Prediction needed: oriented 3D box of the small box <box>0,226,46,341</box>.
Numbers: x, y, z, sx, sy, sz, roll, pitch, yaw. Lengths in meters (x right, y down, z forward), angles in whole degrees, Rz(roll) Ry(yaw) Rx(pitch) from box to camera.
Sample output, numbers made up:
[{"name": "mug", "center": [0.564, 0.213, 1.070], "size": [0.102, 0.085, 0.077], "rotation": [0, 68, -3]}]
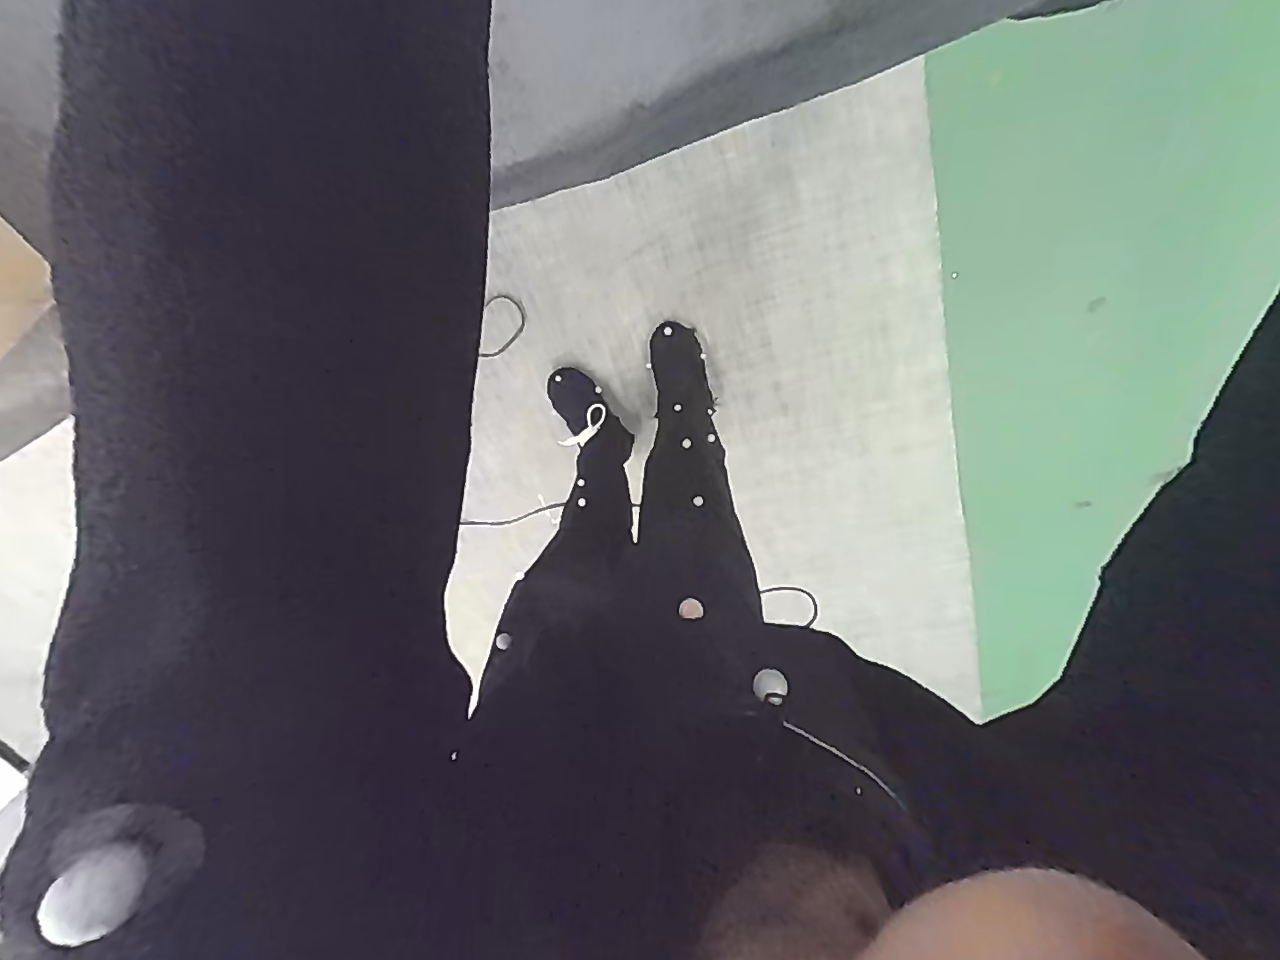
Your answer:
[{"name": "small box", "center": [-0.571, -0.146, 0.350], "size": [0.179, 0.176, 0.168], "rotation": [-26, 115, 18]}]
